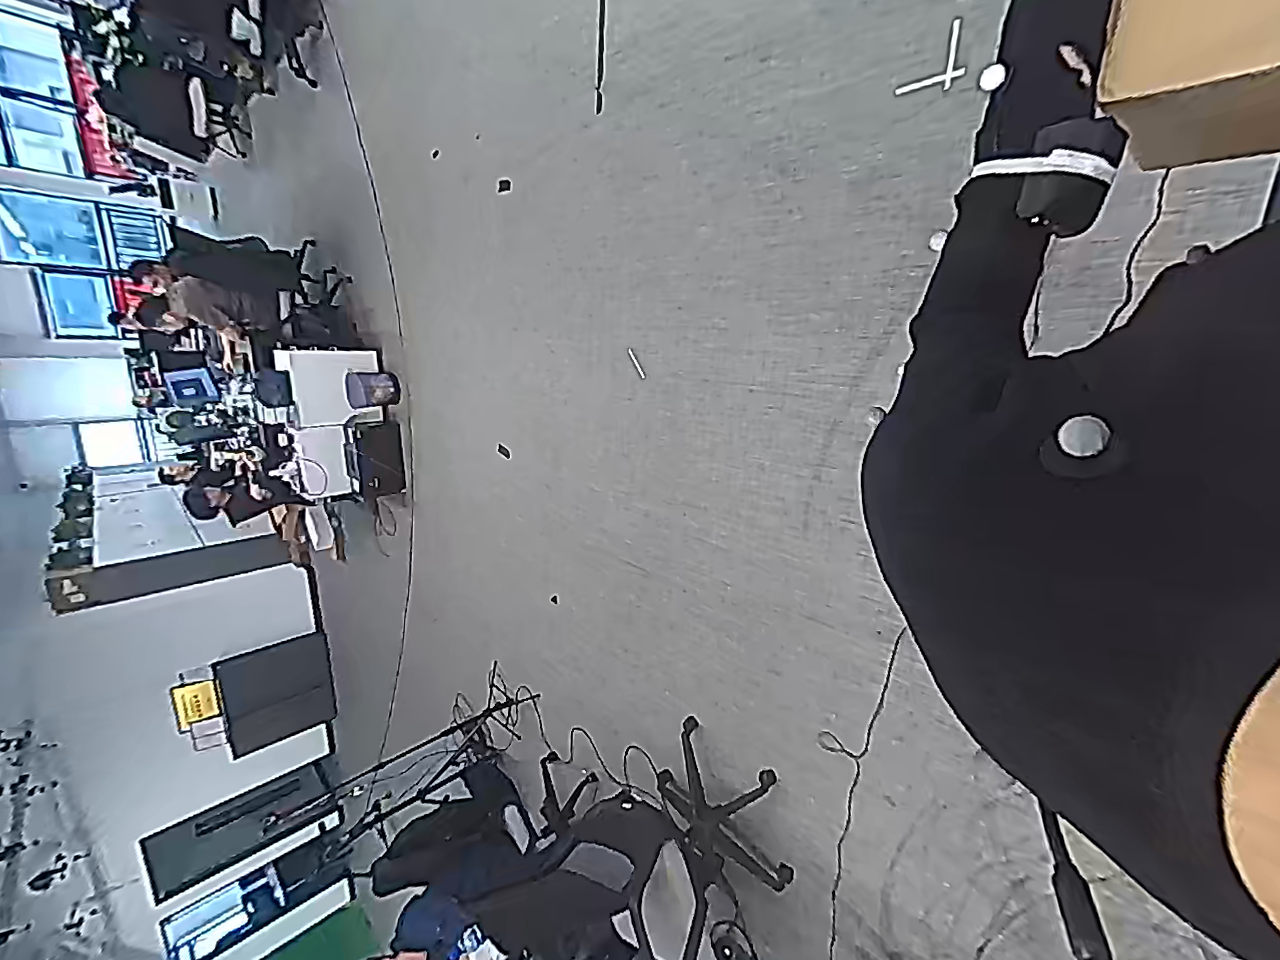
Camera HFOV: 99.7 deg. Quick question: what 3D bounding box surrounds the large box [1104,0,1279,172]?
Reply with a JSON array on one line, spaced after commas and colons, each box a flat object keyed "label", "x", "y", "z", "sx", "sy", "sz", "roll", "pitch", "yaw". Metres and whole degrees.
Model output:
[{"label": "large box", "x": 0.570, "y": -0.408, "z": 0.310, "sx": 0.408, "sy": 0.320, "sz": 0.320, "roll": 16, "pitch": 115, "yaw": 43}]
